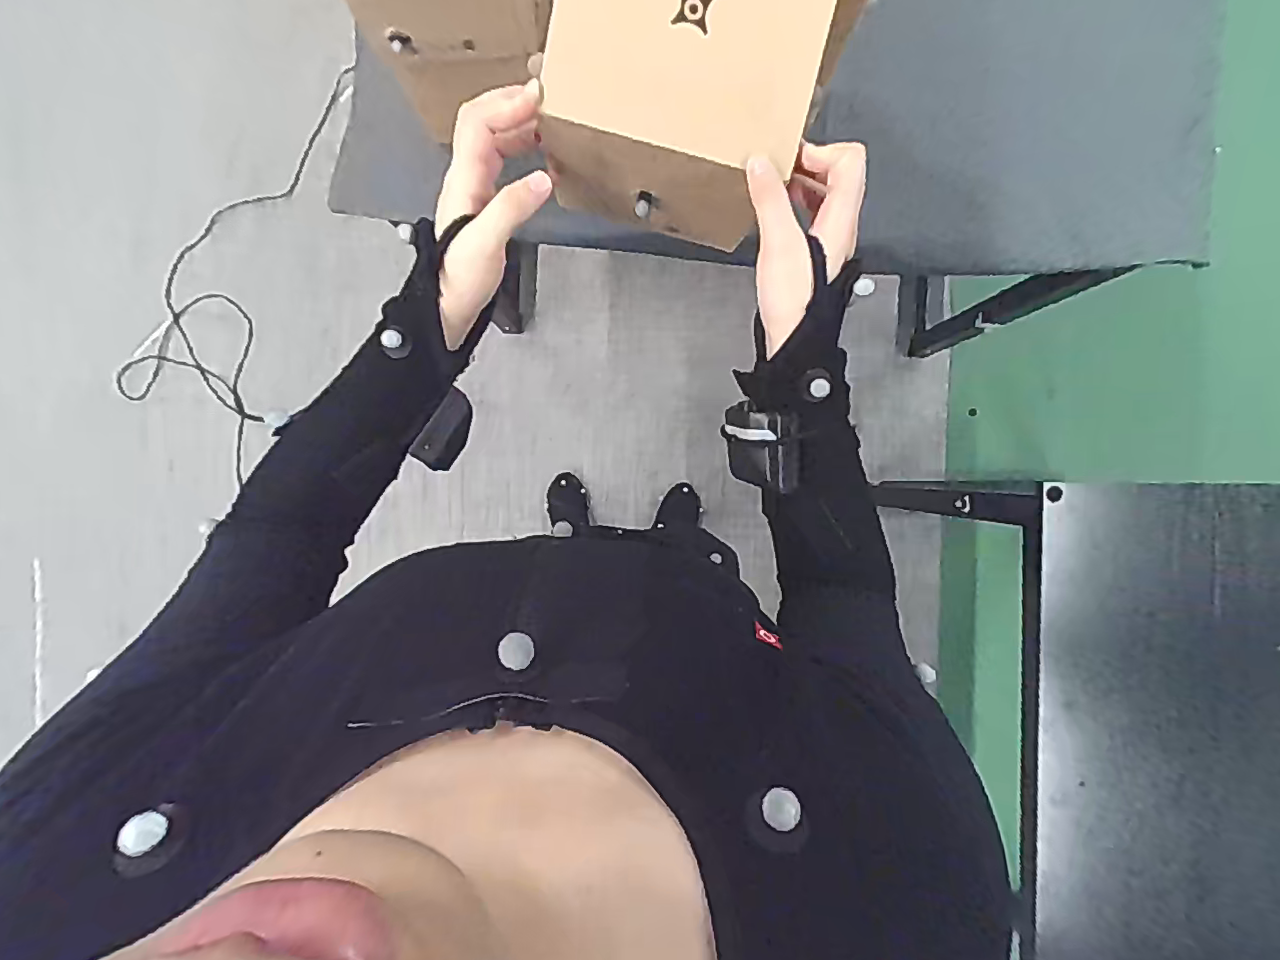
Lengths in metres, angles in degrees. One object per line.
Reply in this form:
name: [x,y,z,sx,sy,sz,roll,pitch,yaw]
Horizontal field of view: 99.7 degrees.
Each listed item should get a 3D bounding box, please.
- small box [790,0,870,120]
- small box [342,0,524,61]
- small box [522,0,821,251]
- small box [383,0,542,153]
small box: [0.129,-0.489,0.518,0.179,0.176,0.168,17,90,3]
small box: [-0.212,-0.547,0.523,0.168,0.176,0.179,-3,87,0]
small box: [0.022,-0.293,0.404,0.168,0.176,0.179,12,97,-4]
small box: [-0.200,-0.547,0.688,0.179,0.176,0.168,1,88,2]
